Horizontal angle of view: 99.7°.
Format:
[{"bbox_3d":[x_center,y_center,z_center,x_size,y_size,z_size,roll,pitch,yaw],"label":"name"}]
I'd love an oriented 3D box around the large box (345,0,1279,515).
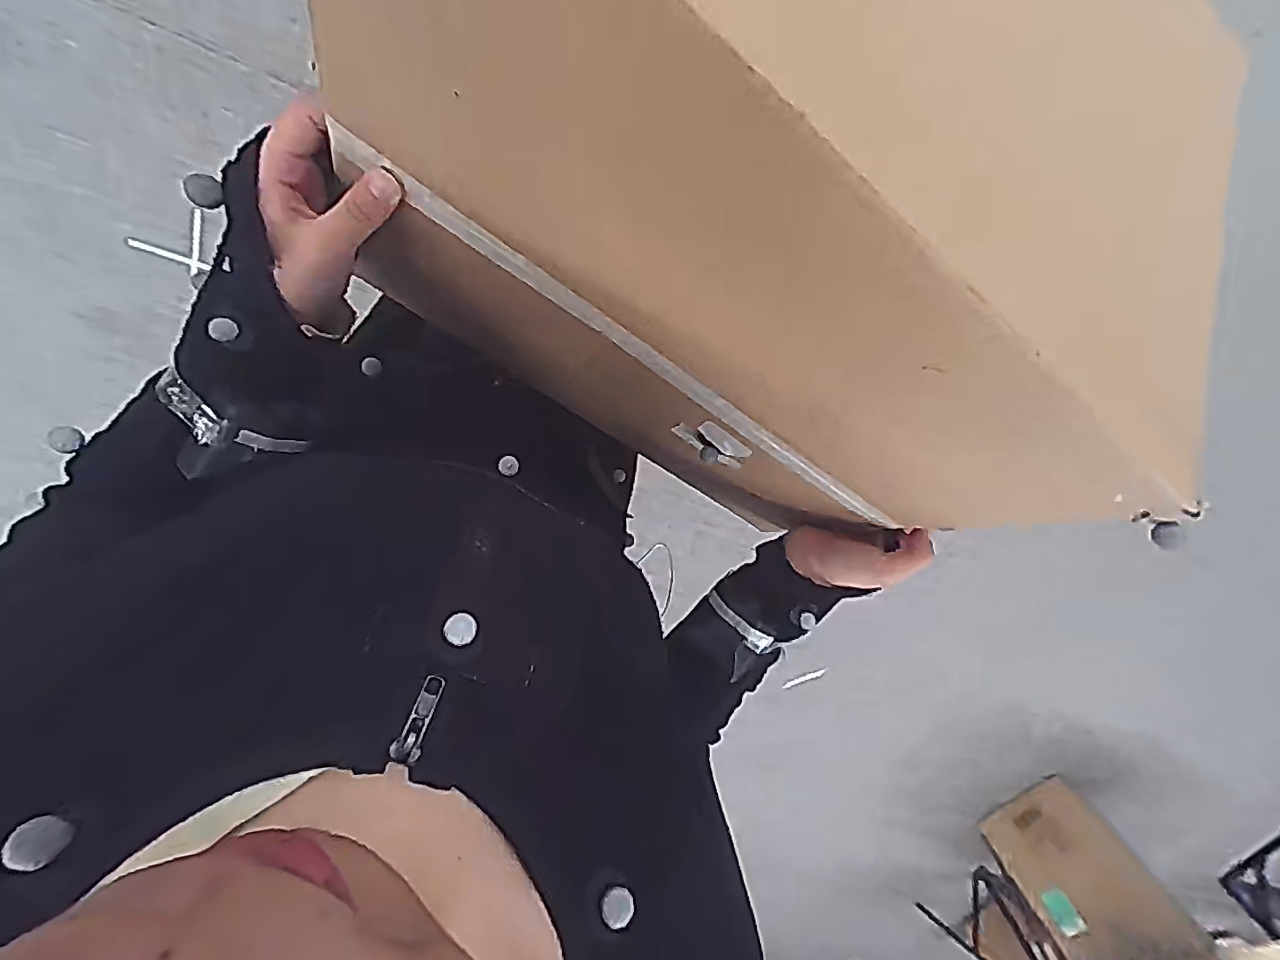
[{"bbox_3d":[0.098,-0.211,0.331,0.408,0.320,0.320,30,73,-19],"label":"large box"}]
